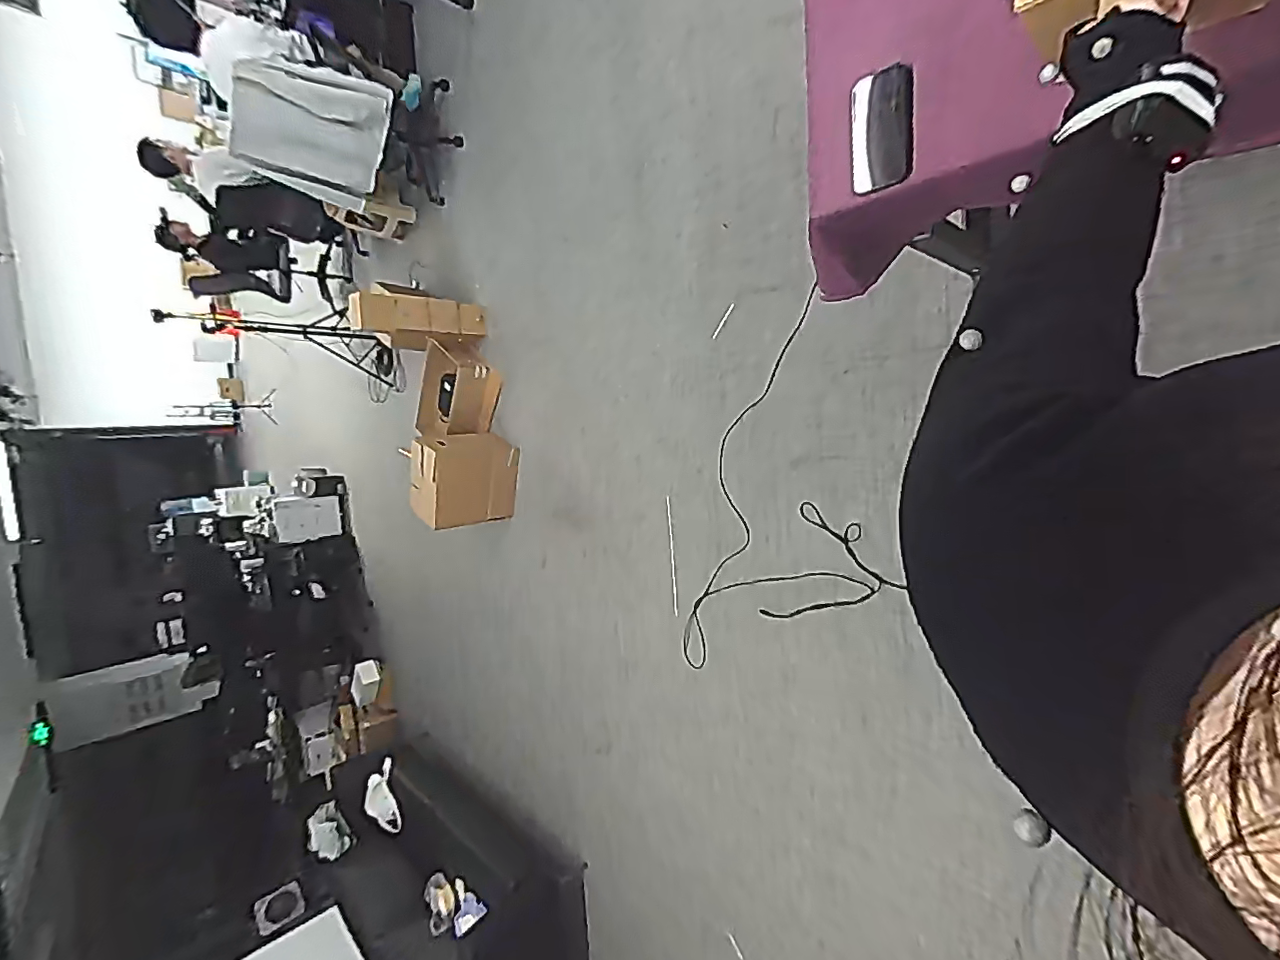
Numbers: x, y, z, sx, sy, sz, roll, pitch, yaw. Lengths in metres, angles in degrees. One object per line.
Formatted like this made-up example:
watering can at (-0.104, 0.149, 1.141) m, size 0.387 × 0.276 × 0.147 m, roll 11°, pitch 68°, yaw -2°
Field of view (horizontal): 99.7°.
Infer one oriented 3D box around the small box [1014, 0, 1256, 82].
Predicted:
small box at (0.465, -0.523, 0.497) m, size 0.168 × 0.176 × 0.179 m, roll 6°, pitch 100°, yaw 45°
